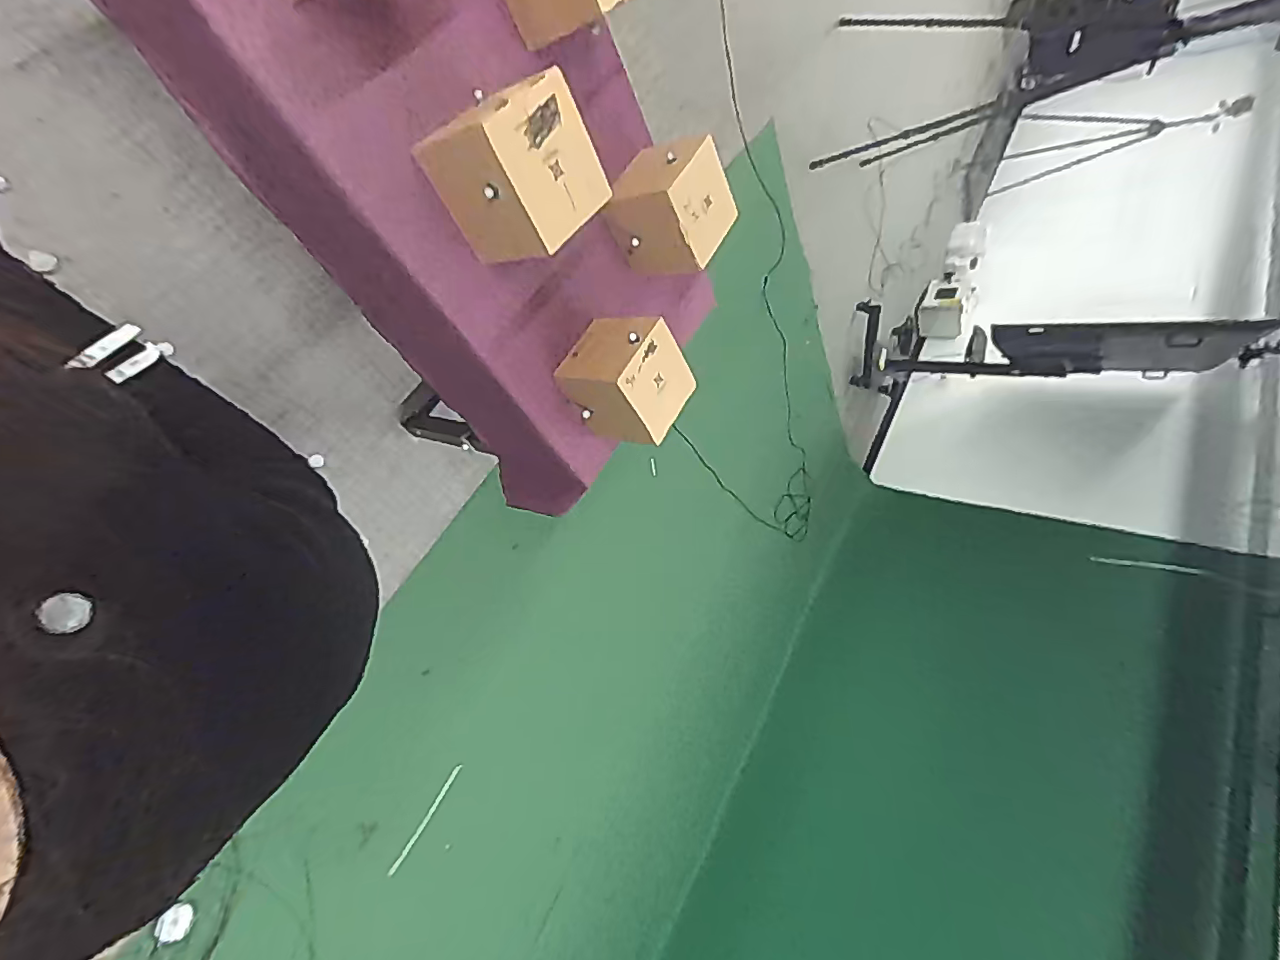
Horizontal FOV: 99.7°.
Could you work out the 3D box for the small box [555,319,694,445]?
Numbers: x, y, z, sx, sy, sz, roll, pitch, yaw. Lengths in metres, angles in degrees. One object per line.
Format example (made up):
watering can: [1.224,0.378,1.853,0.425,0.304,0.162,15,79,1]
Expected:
small box: [-0.027,-0.194,1.046,0.168,0.176,0.179,-59,138,-22]

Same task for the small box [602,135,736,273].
small box: [0.057,-0.529,1.054,0.179,0.176,0.168,-59,138,-21]

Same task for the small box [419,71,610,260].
small box: [-0.181,-0.444,0.789,0.168,0.176,0.179,-55,137,-25]
